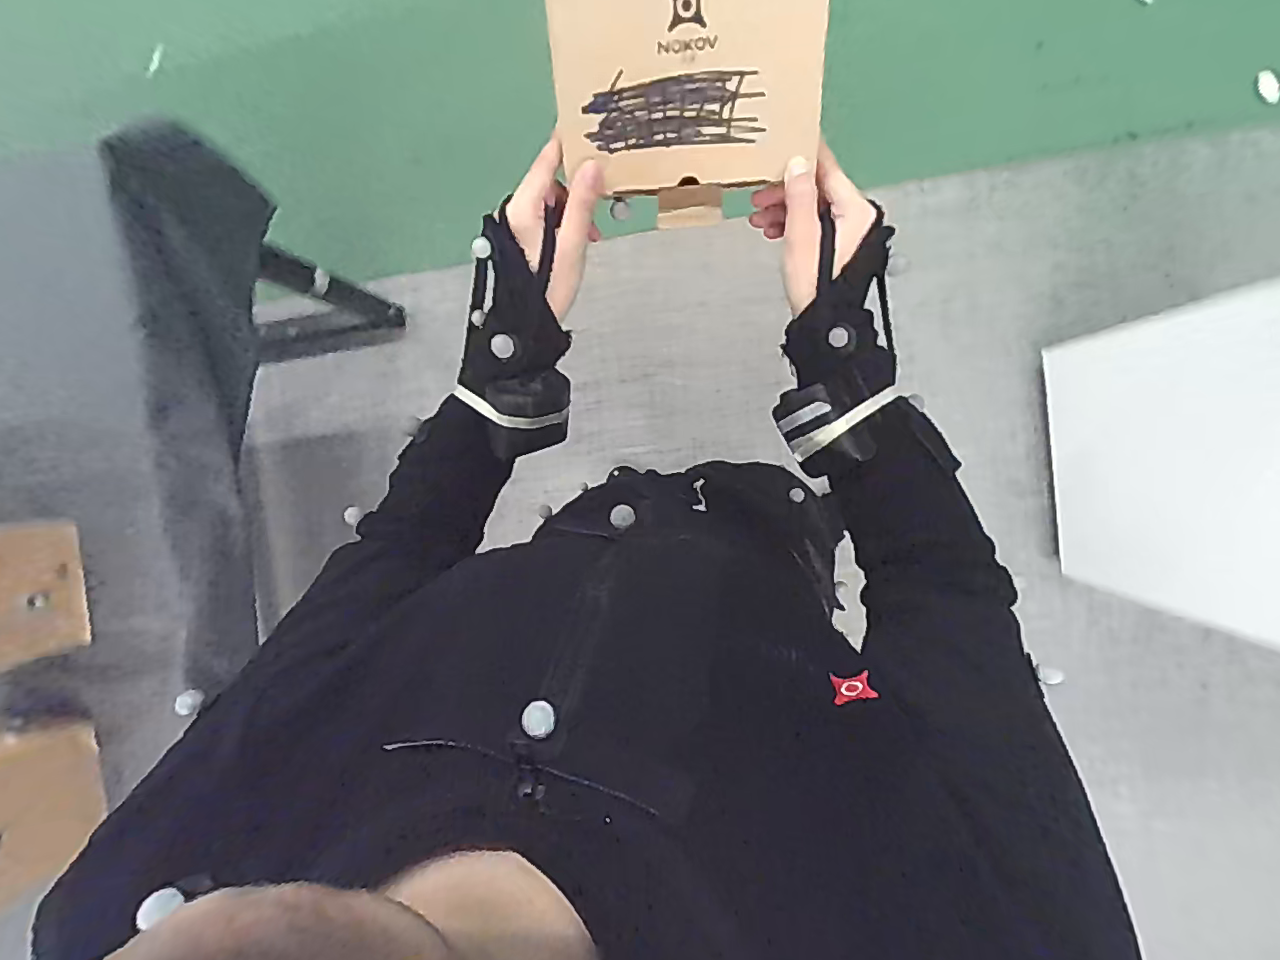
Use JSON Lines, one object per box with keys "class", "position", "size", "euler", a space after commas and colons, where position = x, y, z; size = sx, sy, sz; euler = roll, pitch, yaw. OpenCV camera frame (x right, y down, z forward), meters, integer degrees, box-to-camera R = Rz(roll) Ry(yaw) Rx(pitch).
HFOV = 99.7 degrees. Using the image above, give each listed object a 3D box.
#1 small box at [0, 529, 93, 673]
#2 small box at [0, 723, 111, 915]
{"class": "small box", "position": [-0.835, 0.155, 0.656], "size": [0.179, 0.176, 0.168], "euler": [-6, 92, 7]}
{"class": "small box", "position": [-0.808, 0.424, 0.664], "size": [0.168, 0.176, 0.179], "euler": [-5, 91, 6]}
